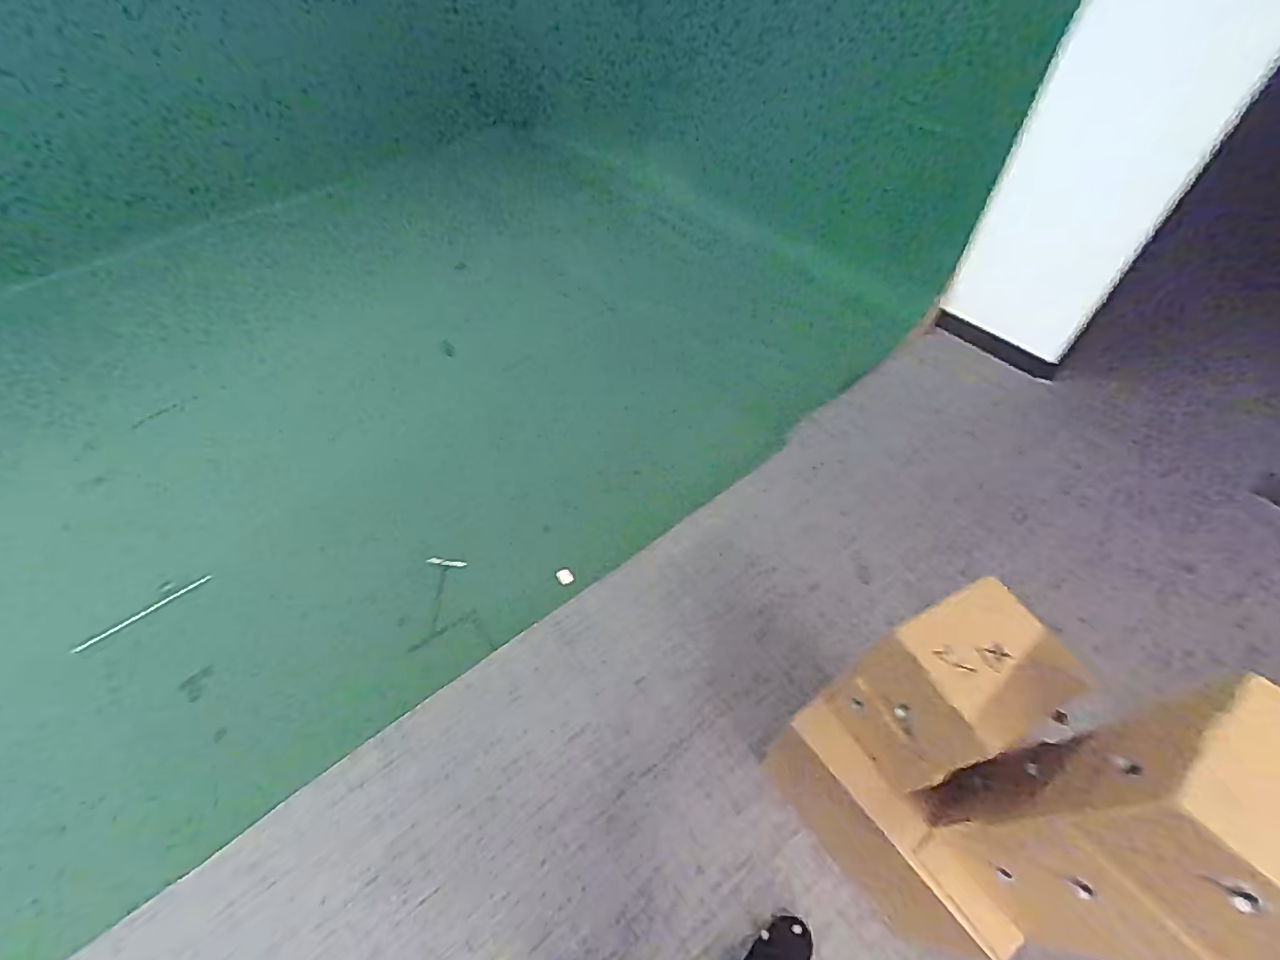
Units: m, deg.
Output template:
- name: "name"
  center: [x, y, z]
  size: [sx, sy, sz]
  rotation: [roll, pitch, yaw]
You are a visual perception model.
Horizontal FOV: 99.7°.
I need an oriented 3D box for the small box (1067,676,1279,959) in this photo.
- name: "small box"
  center: [0.553, 0.319, 0.492]
  size: [0.168, 0.176, 0.179]
  rotation: [-34, 59, -19]
